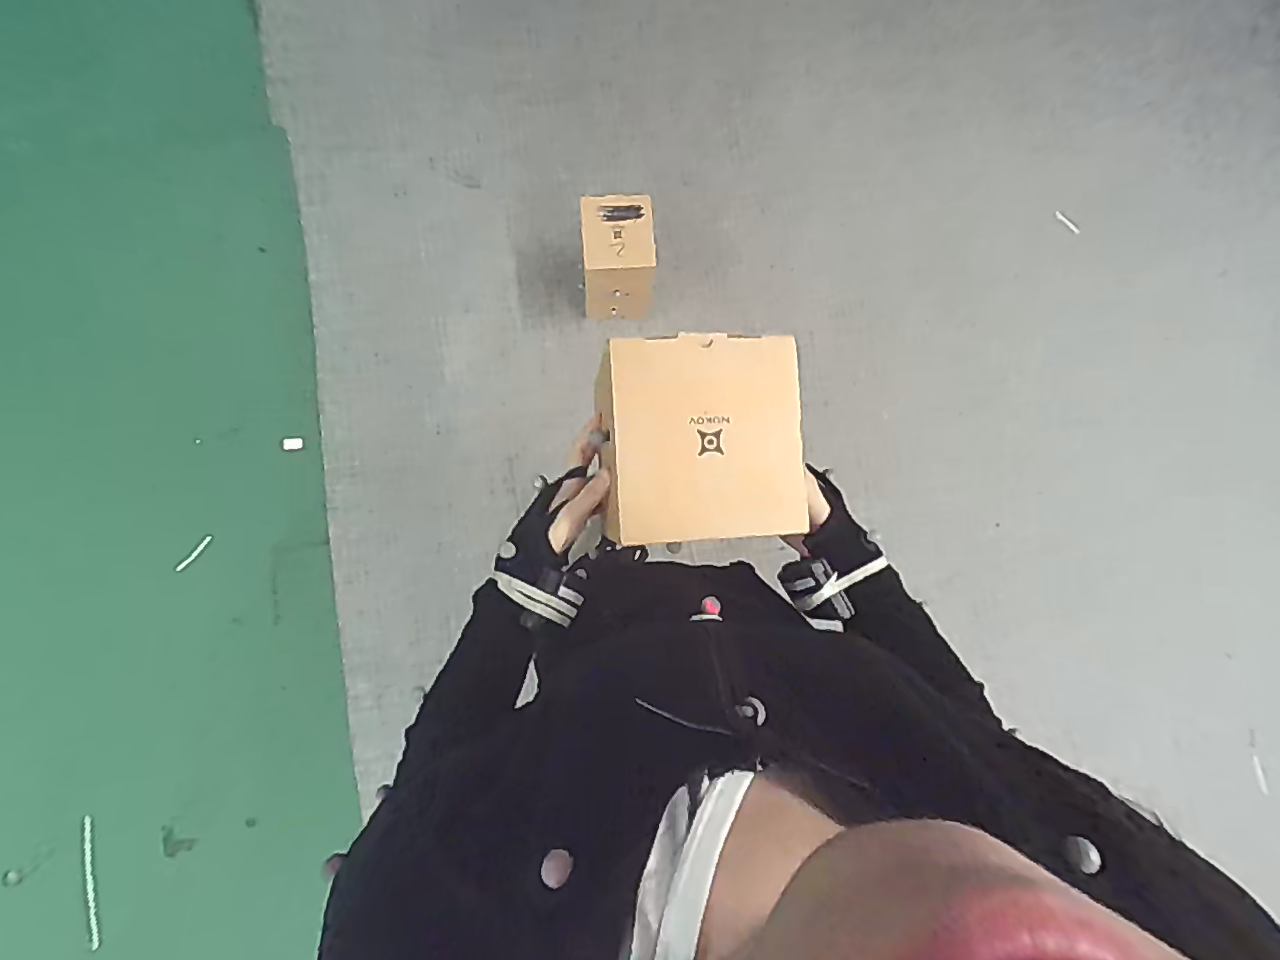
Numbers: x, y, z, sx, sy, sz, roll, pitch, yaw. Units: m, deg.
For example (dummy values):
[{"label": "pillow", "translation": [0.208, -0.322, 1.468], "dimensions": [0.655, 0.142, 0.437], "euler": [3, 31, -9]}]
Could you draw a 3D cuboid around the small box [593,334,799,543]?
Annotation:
[{"label": "small box", "translation": [0.043, -0.035, 0.540], "dimensions": [0.168, 0.176, 0.179], "euler": [-3, 87, -9]}]

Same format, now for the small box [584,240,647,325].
[{"label": "small box", "translation": [-0.068, -0.534, 1.483], "dimensions": [0.168, 0.176, 0.179], "euler": [-1, 85, -5]}]
